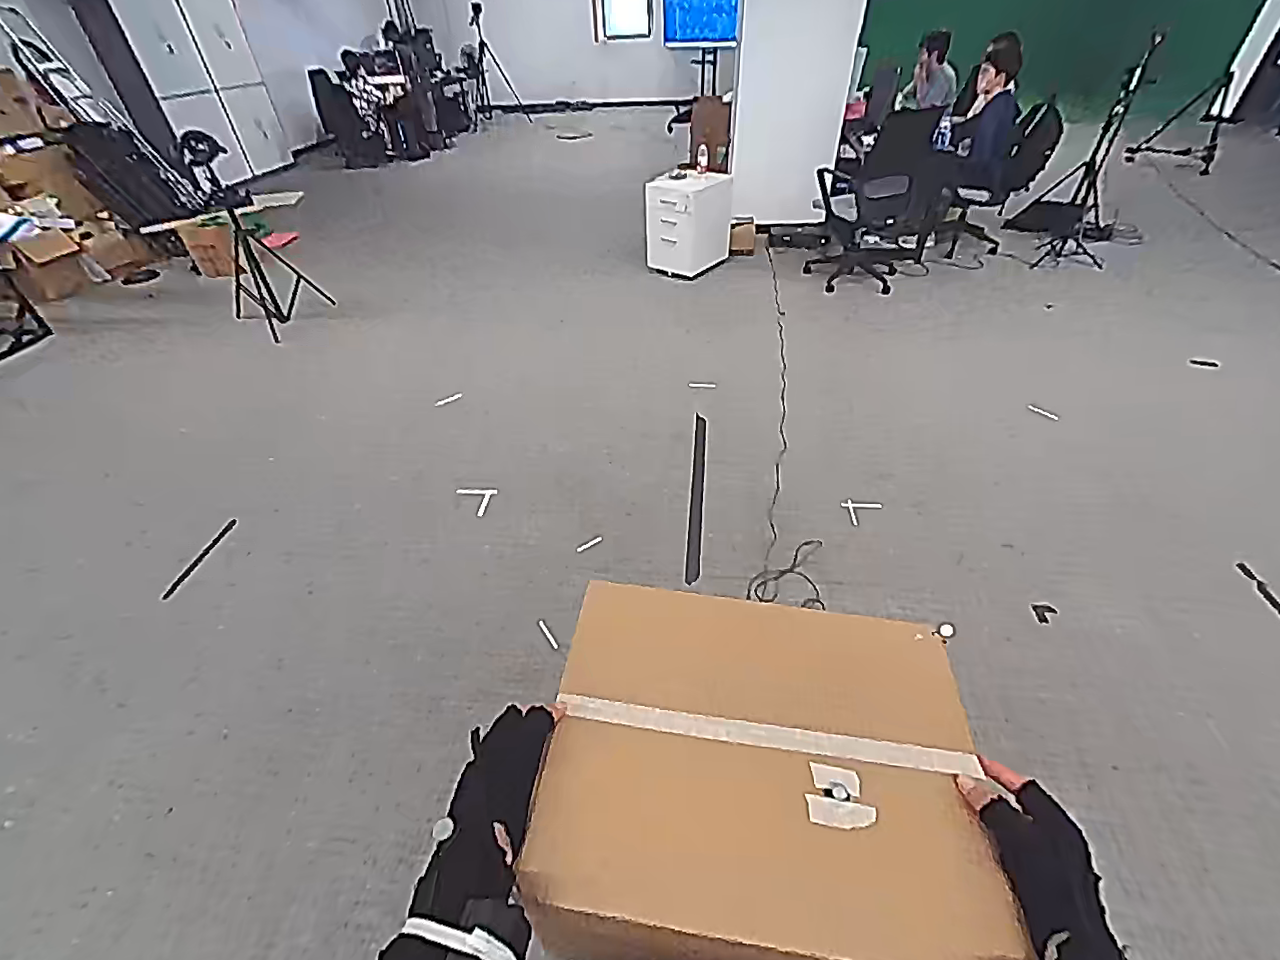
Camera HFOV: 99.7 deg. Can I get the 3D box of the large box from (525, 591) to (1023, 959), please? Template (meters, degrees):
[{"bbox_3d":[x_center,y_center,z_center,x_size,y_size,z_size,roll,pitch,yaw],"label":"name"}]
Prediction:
[{"bbox_3d":[0.115,0.366,0.637,0.408,0.320,0.320,7,43,6],"label":"large box"}]
